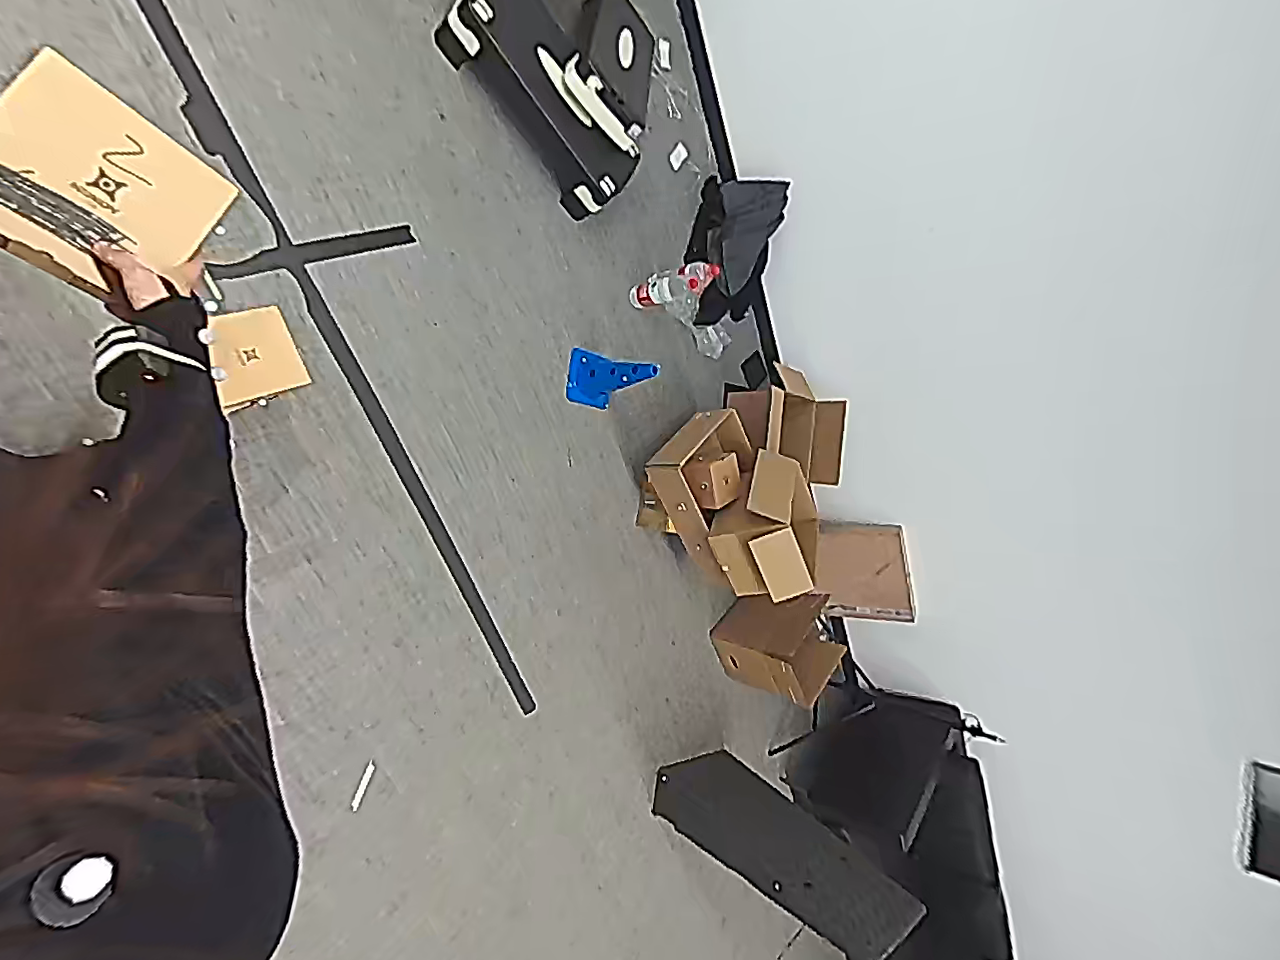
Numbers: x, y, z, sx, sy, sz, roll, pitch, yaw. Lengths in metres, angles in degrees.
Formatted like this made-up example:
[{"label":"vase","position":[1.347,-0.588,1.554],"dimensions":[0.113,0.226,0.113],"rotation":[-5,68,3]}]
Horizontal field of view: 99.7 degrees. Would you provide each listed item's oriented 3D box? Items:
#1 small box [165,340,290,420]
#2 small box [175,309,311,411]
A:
[{"label":"small box","position":[-0.951,-0.248,1.248],"dimensions":[0.168,0.176,0.179],"rotation":[-35,115,-36]},{"label":"small box","position":[-0.834,-0.249,1.135],"dimensions":[0.179,0.176,0.168],"rotation":[-30,113,-37]}]
